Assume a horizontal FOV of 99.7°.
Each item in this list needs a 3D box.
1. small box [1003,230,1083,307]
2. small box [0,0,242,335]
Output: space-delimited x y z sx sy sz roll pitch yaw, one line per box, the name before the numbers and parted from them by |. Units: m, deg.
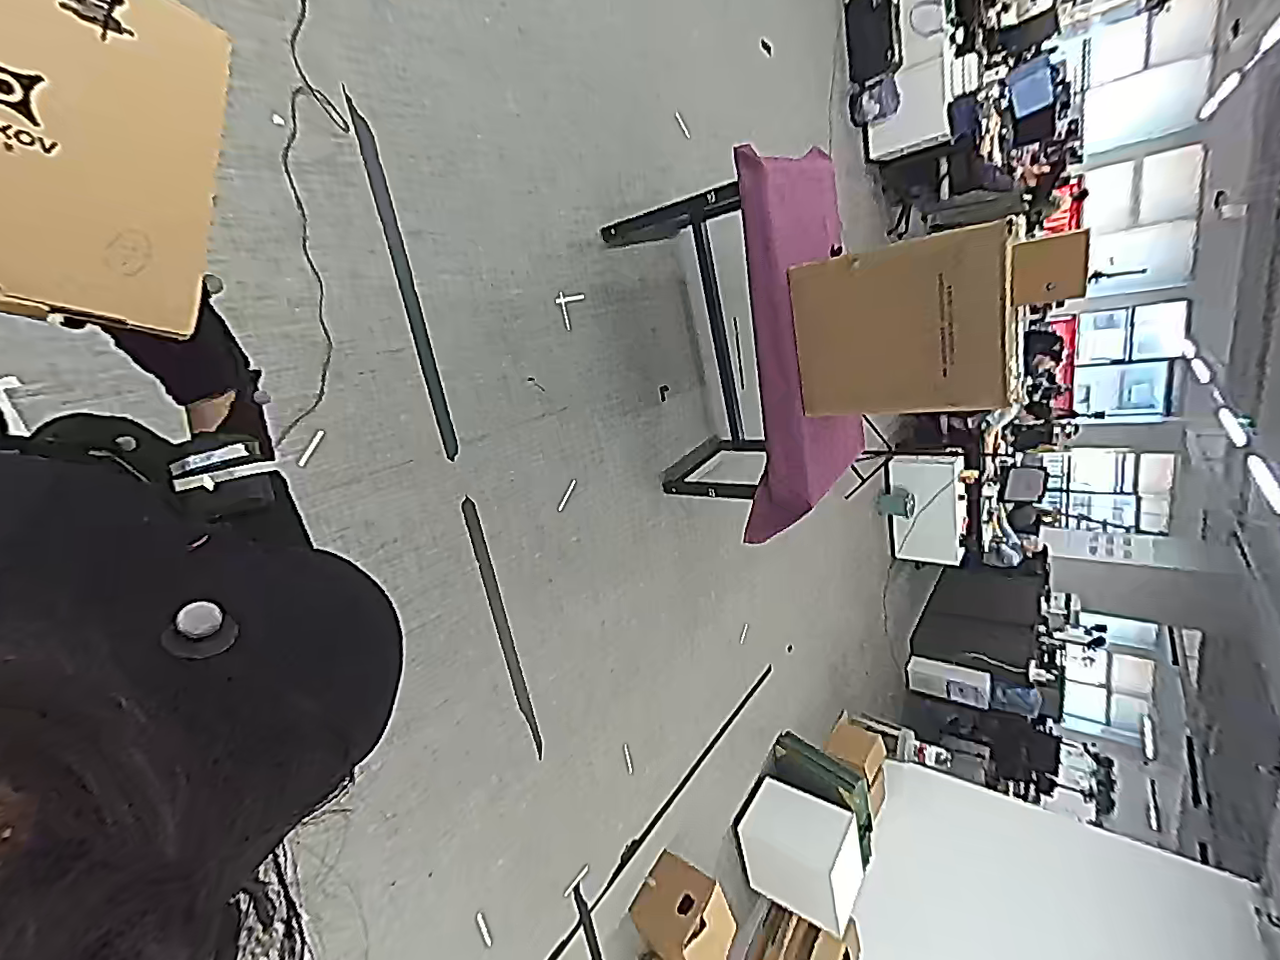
small box | 1.152 -0.601 1.548 0.168 0.176 0.179 -32 116 -45
small box | -0.353 -0.193 0.284 0.168 0.176 0.179 5 101 -60
